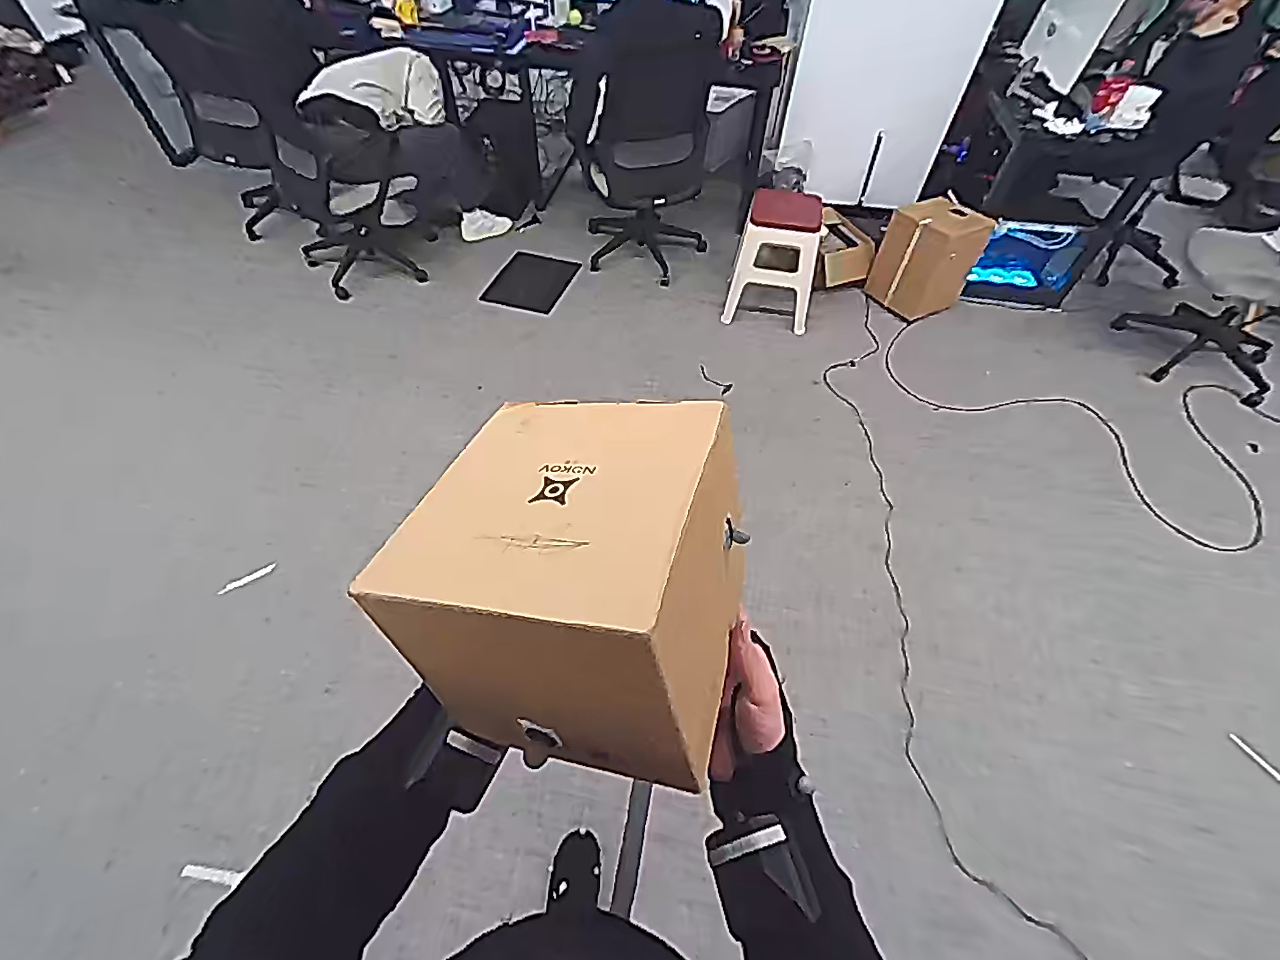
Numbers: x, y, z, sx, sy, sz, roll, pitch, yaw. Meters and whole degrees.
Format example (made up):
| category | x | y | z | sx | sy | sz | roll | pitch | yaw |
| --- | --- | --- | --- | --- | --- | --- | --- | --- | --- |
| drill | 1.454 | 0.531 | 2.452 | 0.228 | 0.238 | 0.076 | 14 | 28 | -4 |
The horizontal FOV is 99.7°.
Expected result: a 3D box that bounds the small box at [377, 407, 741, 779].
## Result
| category | x | y | z | sx | sy | sz | roll | pitch | yaw |
| --- | --- | --- | --- | --- | --- | --- | --- | --- | --- |
| small box | -0.027 | 0.067 | 0.368 | 0.168 | 0.176 | 0.179 | 1 | 42 | 19 |
